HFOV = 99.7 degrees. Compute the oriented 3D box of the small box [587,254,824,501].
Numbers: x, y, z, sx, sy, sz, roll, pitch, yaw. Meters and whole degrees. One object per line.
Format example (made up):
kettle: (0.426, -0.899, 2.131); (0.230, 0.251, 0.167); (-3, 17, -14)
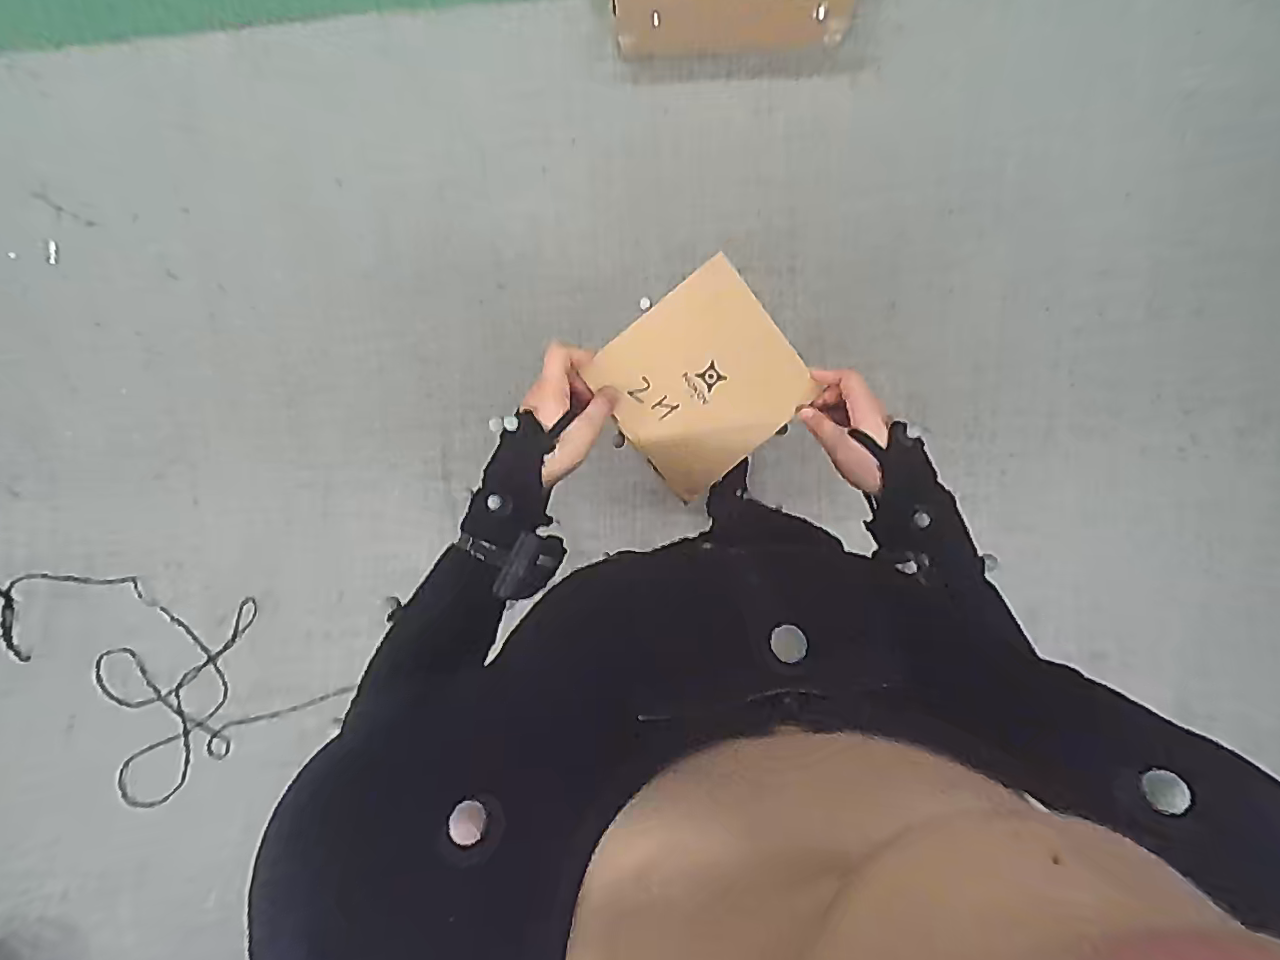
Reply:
small box: (0.056, -0.105, 0.587); (0.179, 0.176, 0.168); (-40, 99, 2)
